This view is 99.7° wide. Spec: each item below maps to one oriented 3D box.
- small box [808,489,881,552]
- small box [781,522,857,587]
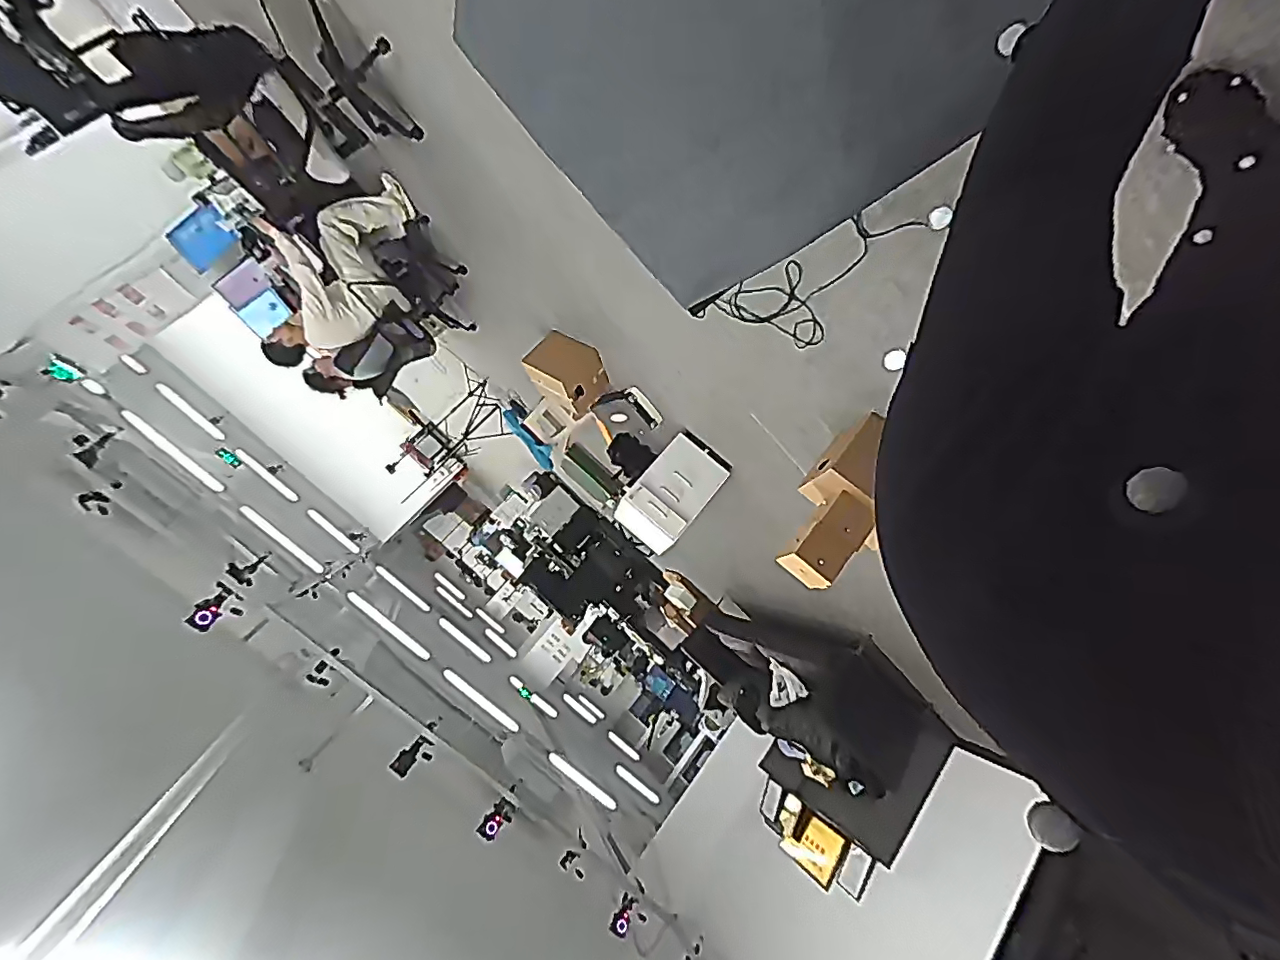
[{"bbox_3d":[0.781,0.164,2.069,0.179,0.176,0.168,40,162,4],"label":"small box"},{"bbox_3d":[0.669,0.272,2.020,0.179,0.176,0.168,40,162,3],"label":"small box"}]
